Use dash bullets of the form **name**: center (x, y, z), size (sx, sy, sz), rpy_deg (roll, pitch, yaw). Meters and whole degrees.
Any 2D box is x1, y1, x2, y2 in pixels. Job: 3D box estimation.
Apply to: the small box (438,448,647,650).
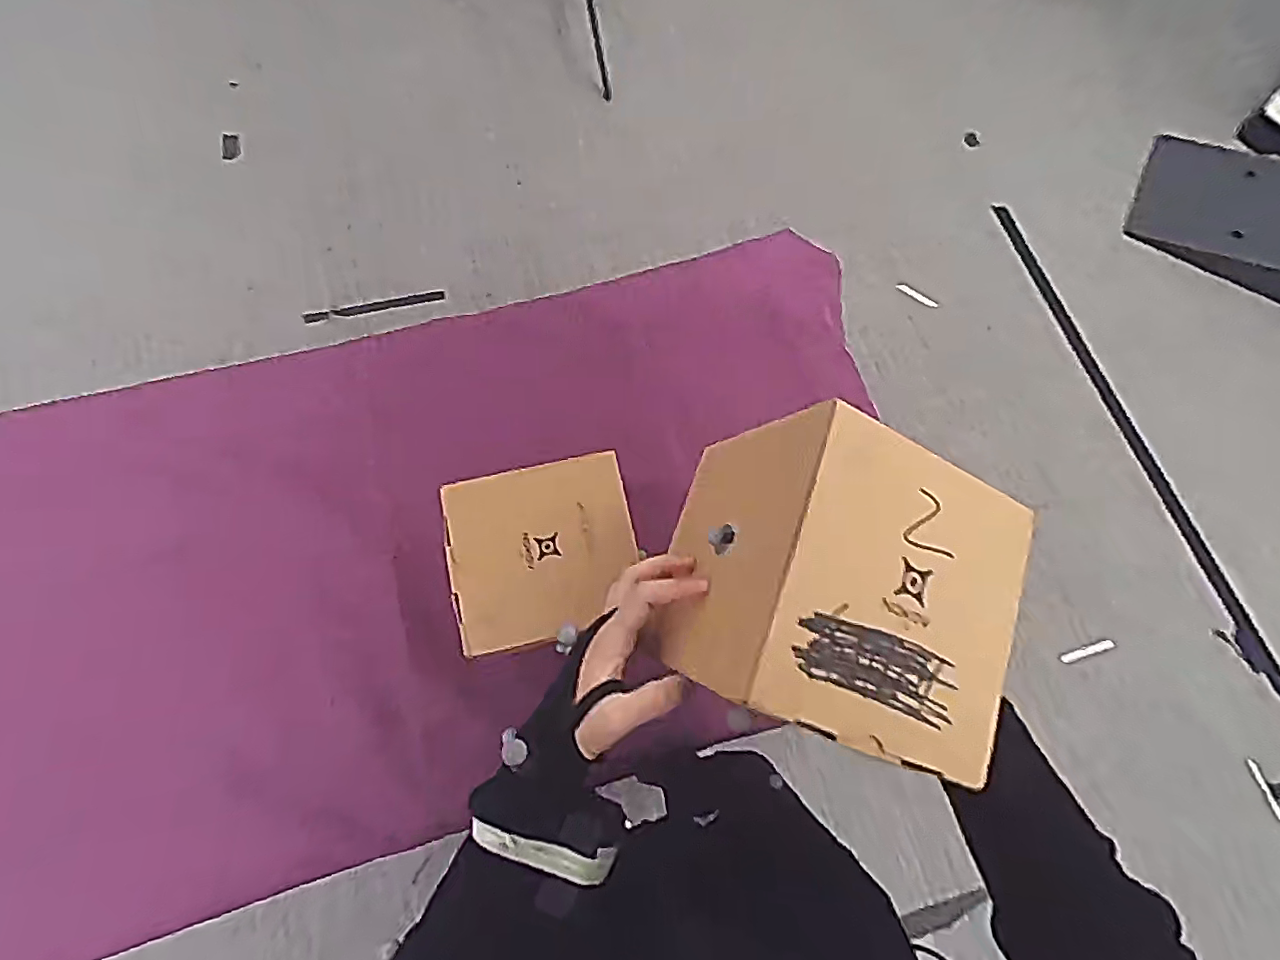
- **small box**: center (-0.098, 0.083, 0.589), size (0.179, 0.176, 0.168), rpy_deg (-13, 75, -7)
